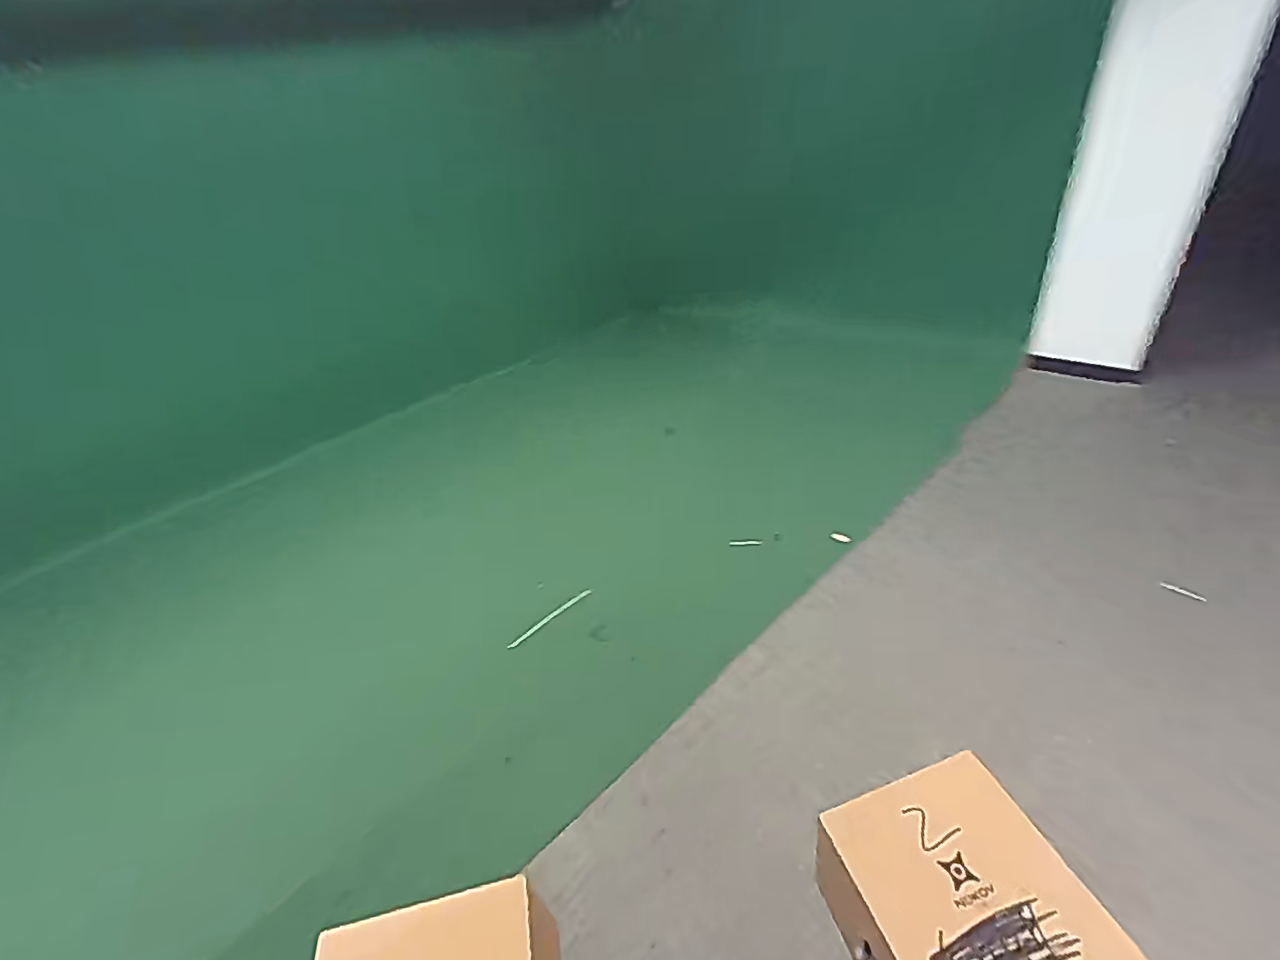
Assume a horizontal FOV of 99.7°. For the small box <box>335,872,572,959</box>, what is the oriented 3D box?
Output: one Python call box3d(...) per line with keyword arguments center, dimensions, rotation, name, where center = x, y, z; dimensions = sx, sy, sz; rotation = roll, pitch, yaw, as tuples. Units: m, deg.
box3d(center=(-0.141, 0.455, 0.434), dimensions=(0.168, 0.176, 0.179), rotation=(-10, 44, -7), name="small box")
